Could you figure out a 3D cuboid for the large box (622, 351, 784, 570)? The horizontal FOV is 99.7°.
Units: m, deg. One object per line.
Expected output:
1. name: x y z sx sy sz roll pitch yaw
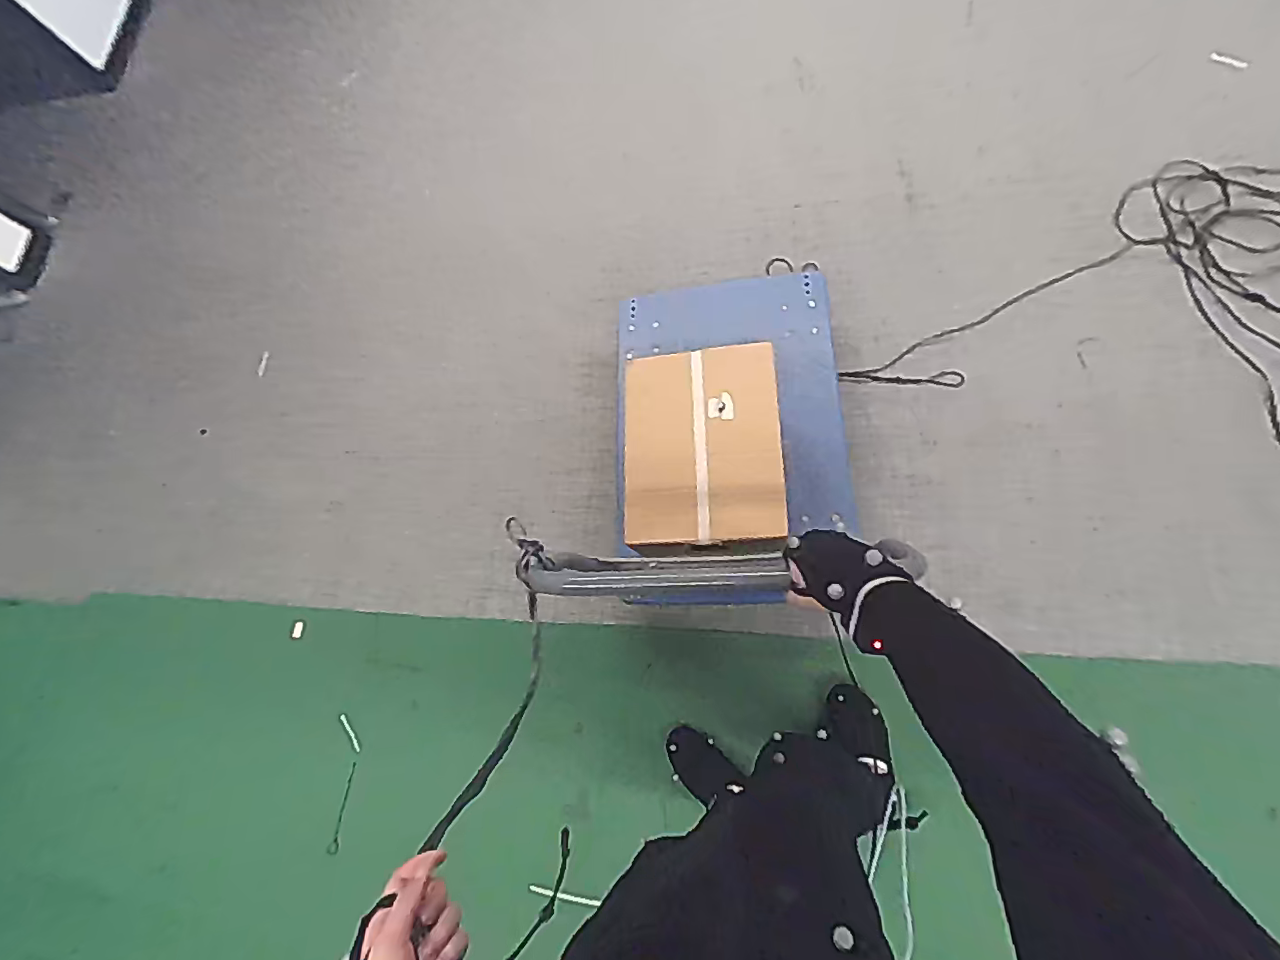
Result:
1. large box: 0.147 -0.022 1.222 0.320 0.320 0.408 -4 72 12
